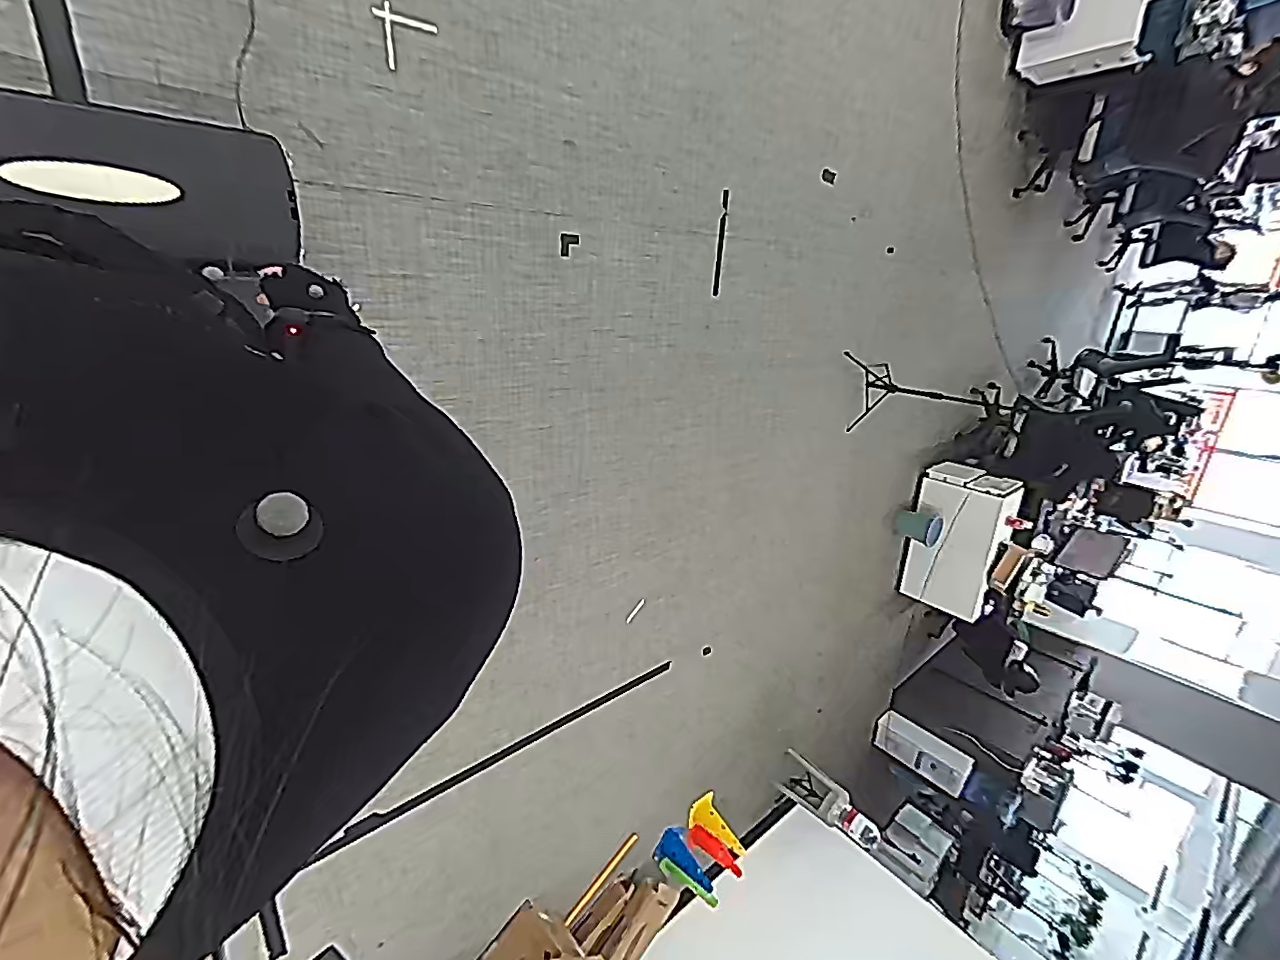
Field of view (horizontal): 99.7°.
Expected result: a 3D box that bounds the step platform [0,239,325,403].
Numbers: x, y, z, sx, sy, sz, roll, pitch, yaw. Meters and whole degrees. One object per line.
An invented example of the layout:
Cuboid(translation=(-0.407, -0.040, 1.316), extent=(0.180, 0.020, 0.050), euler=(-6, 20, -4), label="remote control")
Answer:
Cuboid(translation=(-1.041, -0.326, 1.108), extent=(0.684, 0.204, 0.286), euler=(-14, 114, -37), label="step platform")
